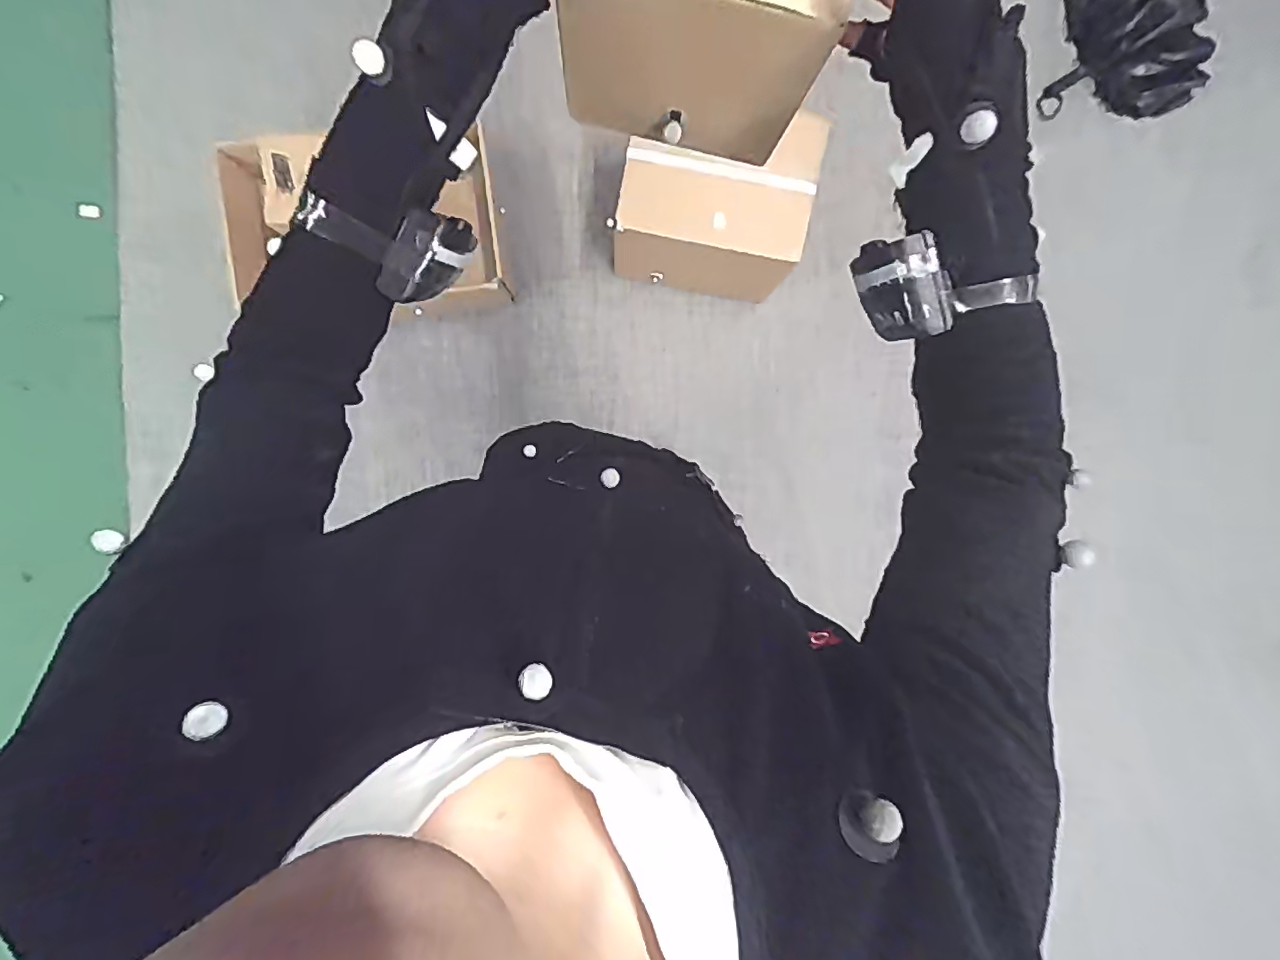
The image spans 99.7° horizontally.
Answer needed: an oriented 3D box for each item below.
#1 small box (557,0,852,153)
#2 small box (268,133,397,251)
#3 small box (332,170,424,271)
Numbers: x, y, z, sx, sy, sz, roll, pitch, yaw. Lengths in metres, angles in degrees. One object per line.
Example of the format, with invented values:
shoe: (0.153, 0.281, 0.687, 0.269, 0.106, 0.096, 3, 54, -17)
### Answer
small box: (0.044, -0.366, 0.379, 0.179, 0.176, 0.168, 10, 93, -5)
small box: (-0.638, -0.597, 1.139, 0.179, 0.176, 0.168, -3, 93, -2)
small box: (-0.644, -0.616, 1.303, 0.179, 0.176, 0.168, -6, 93, -2)
